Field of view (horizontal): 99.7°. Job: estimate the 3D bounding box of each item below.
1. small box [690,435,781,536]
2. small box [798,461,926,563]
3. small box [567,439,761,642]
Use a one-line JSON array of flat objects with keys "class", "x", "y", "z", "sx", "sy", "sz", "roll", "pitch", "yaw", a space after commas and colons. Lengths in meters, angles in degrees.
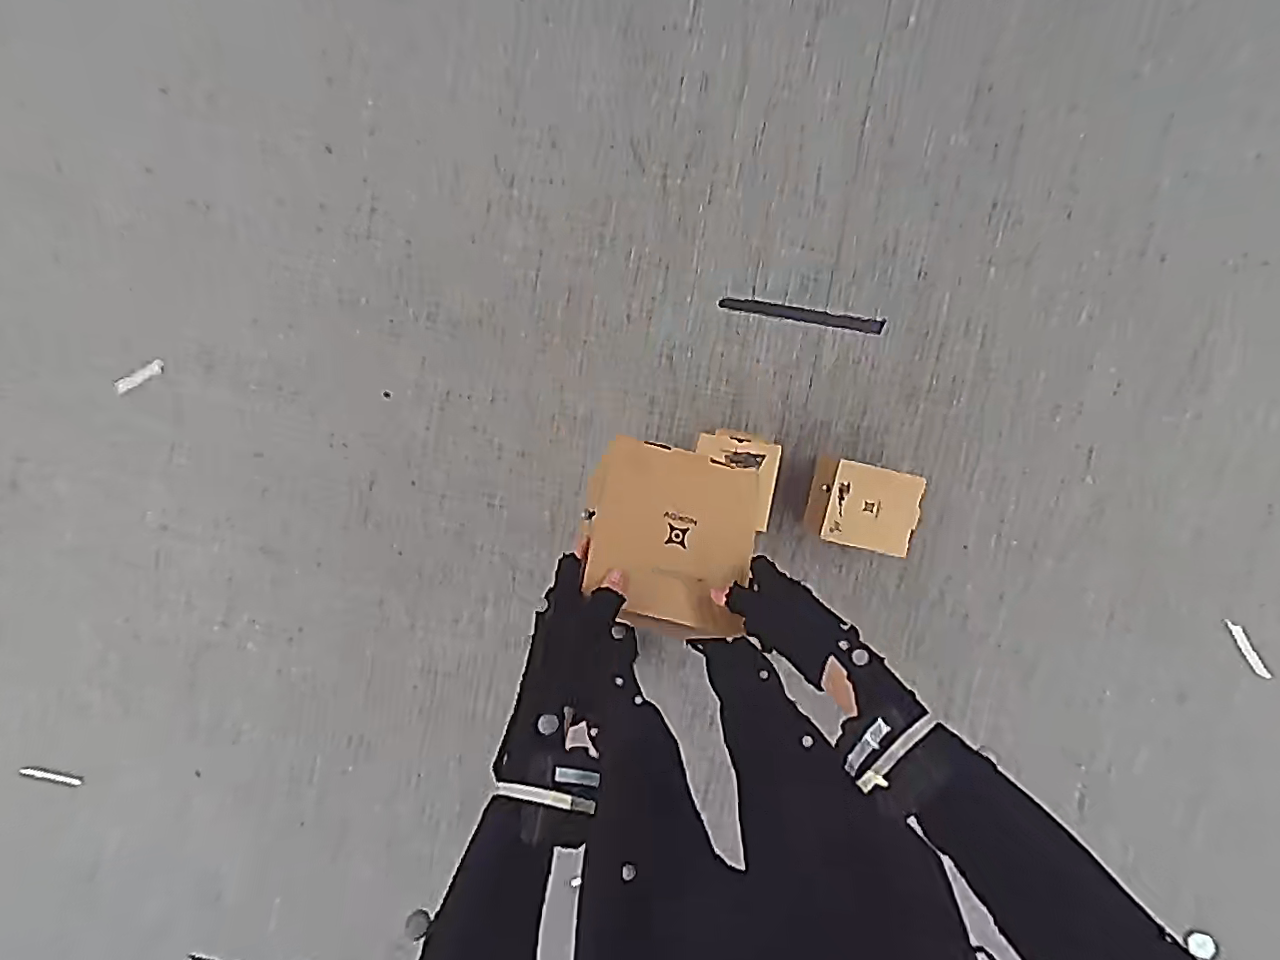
[{"class": "small box", "x": 0.184, "y": 0.006, "z": 1.140, "sx": 0.168, "sy": 0.176, "sz": 0.179, "roll": 10, "pitch": 95, "yaw": 2}, {"class": "small box", "x": 0.455, "y": 0.059, "z": 1.135, "sx": 0.179, "sy": 0.176, "sz": 0.168, "roll": 14, "pitch": 94, "yaw": 0}, {"class": "small box", "x": 0.019, "y": 0.080, "z": 0.619, "sx": 0.168, "sy": 0.176, "sz": 0.179, "roll": 15, "pitch": 70, "yaw": -10}]
